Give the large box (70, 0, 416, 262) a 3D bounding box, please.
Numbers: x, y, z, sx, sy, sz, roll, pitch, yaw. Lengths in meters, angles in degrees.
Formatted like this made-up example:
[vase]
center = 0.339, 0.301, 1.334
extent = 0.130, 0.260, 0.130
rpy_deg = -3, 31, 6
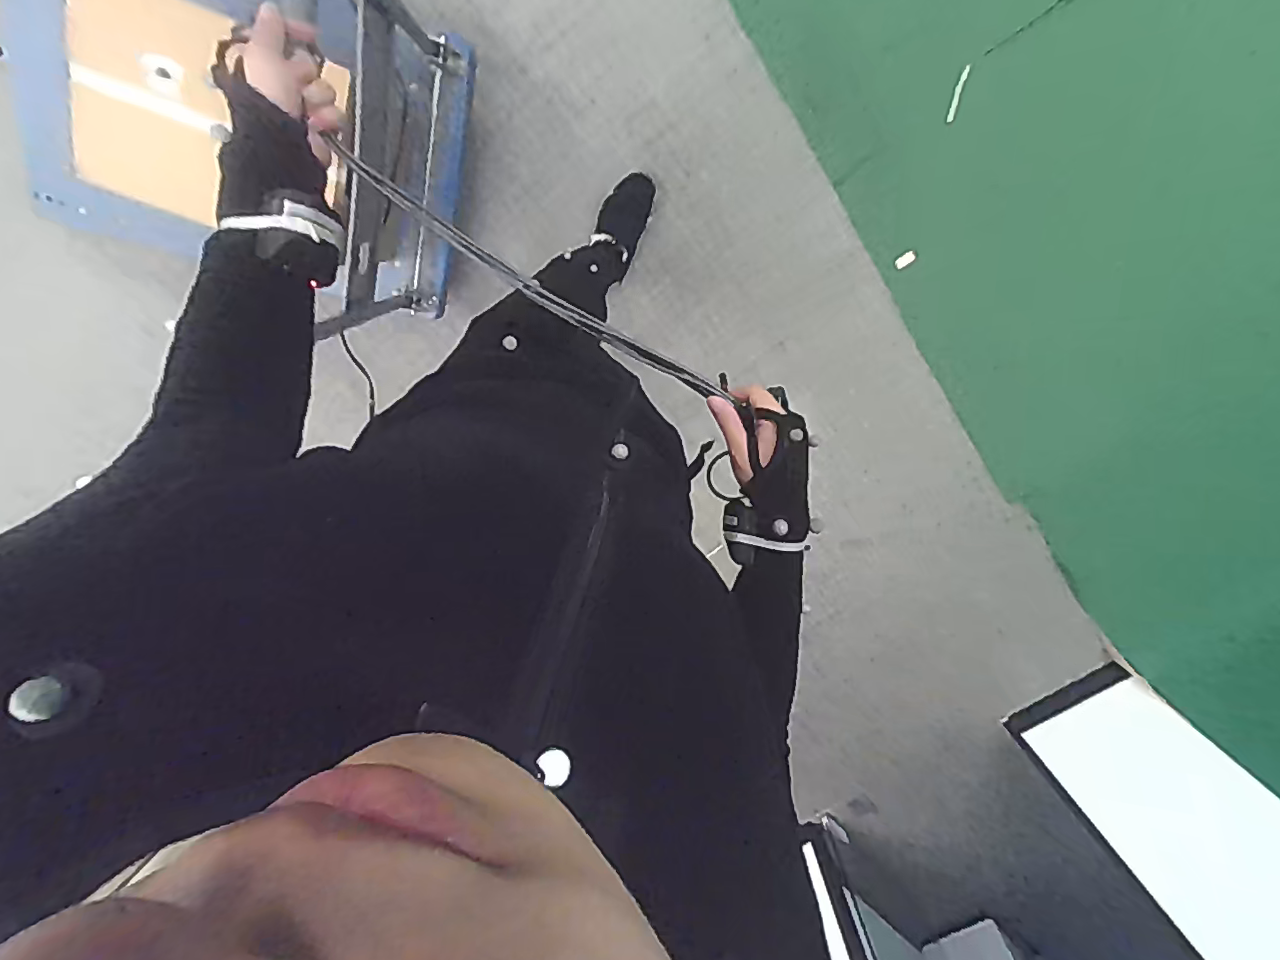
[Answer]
[large box]
center = -0.683, -0.632, 0.997
extent = 0.408, 0.320, 0.320
rpy_deg = 18, 112, -10
